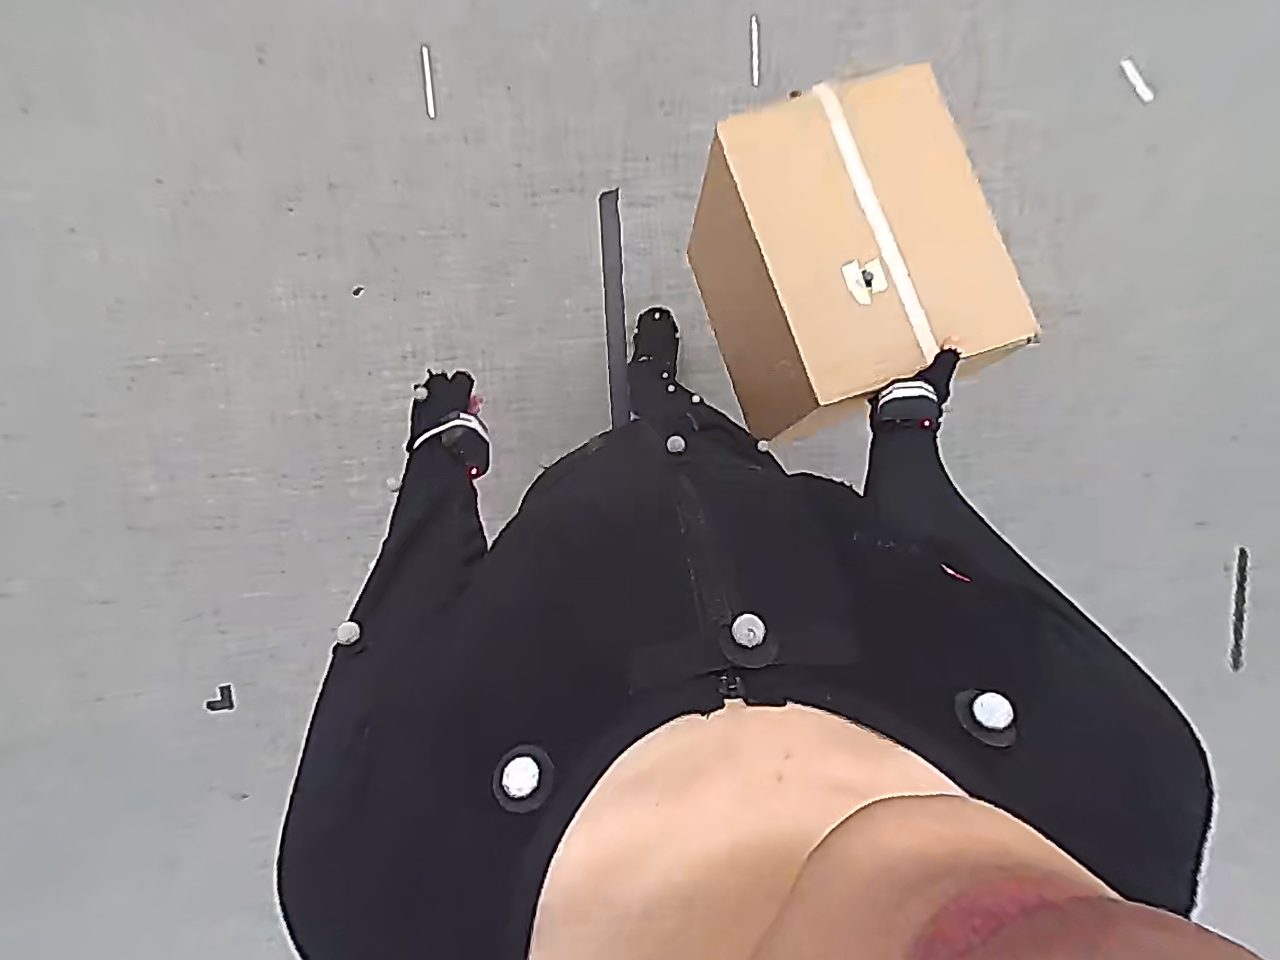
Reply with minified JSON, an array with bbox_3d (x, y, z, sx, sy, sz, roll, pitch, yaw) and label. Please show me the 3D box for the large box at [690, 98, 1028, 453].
[{"bbox_3d":[0.308,-0.299,0.883,0.320,0.320,0.408,-18,83,-5],"label":"large box"}]
